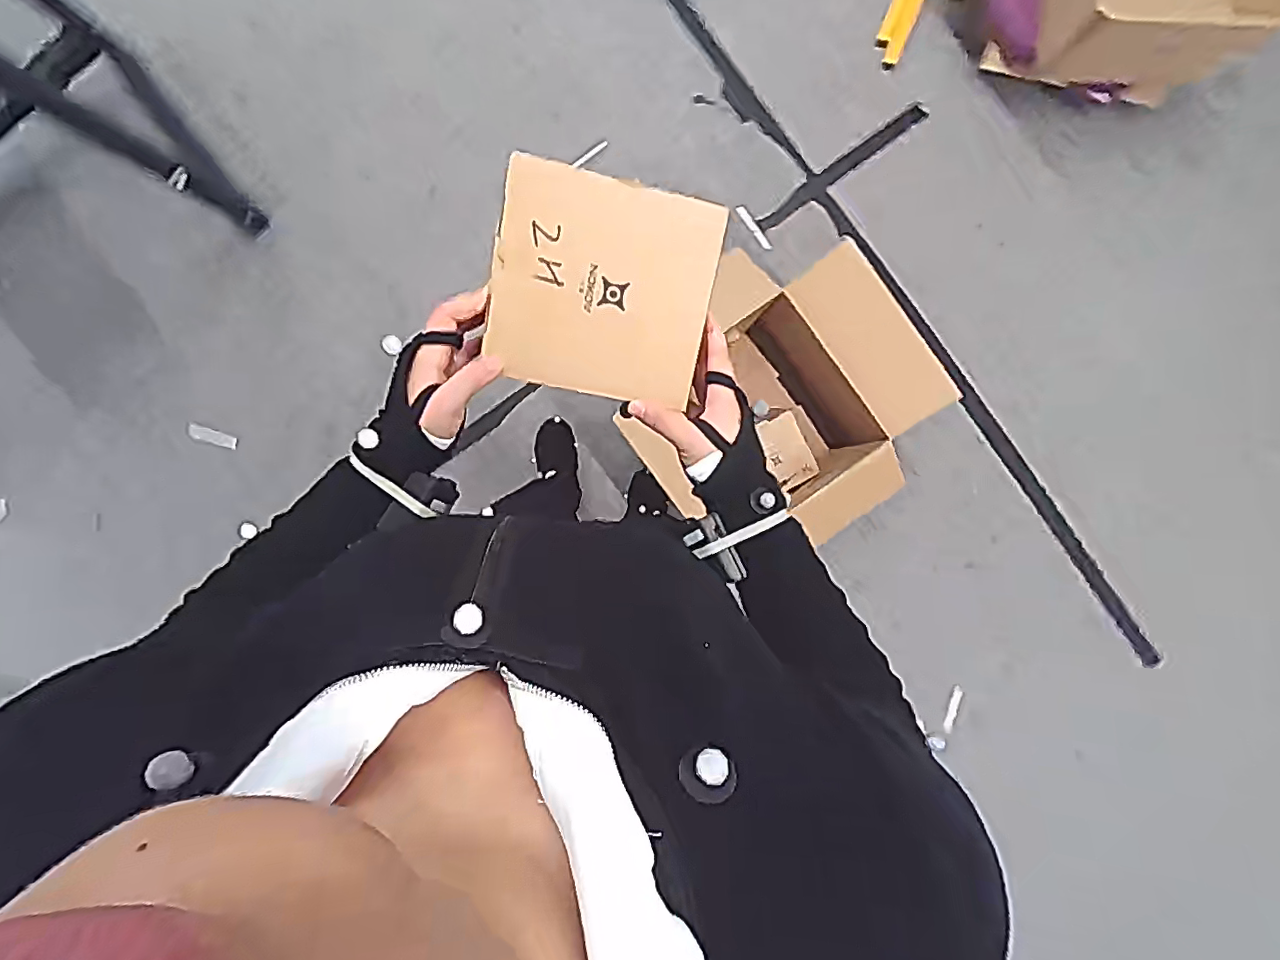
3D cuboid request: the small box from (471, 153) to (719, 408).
[{"bbox_3d":[-0.045,-0.171,0.508,0.179,0.176,0.168,9,102,-8],"label":"small box"}]
